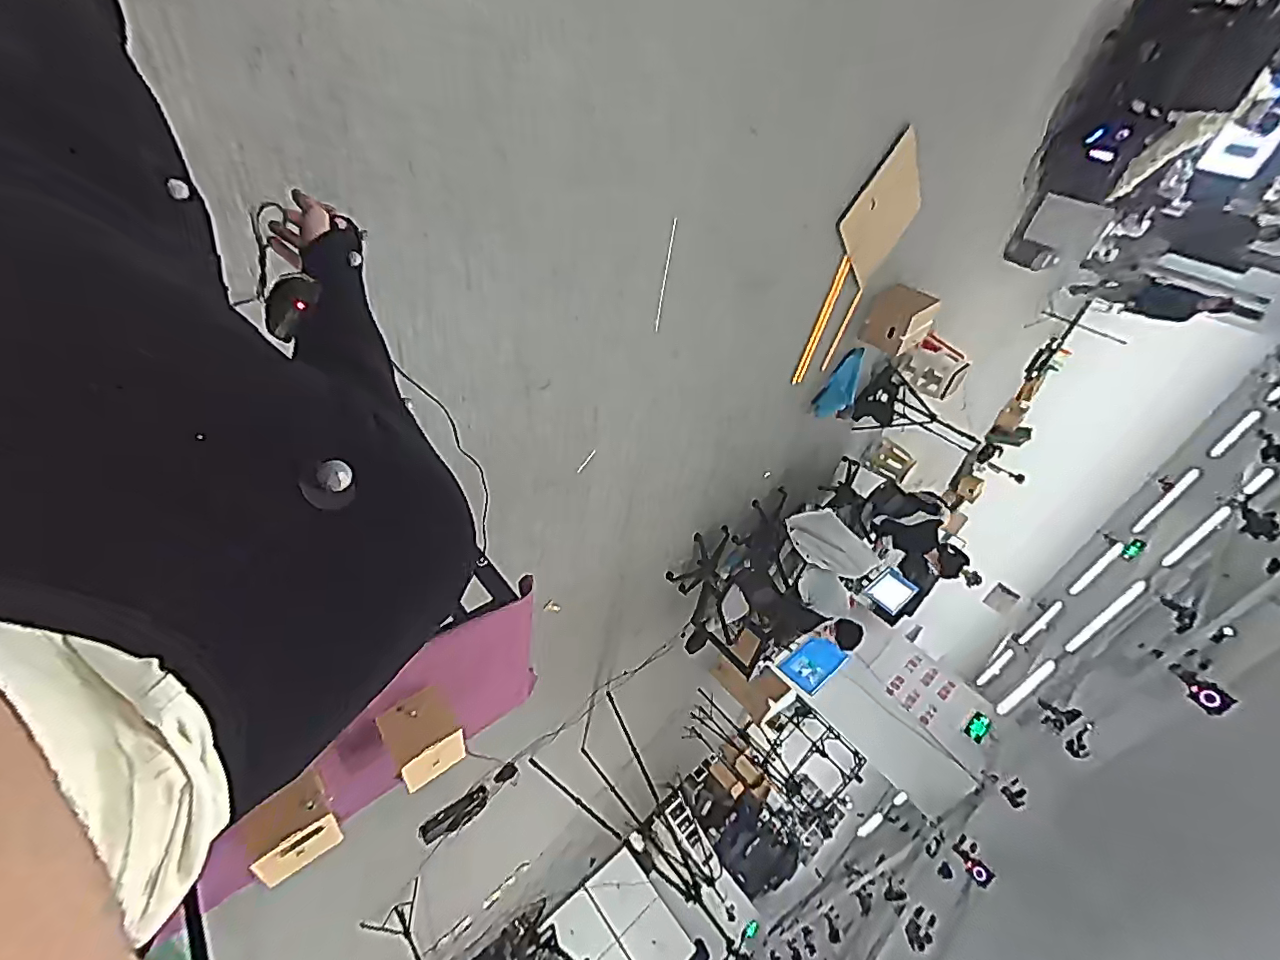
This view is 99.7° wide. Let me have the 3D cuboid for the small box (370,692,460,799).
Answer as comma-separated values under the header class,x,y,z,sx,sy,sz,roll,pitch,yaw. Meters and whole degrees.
class,x,y,z,sx,sy,sz,roll,pitch,yaw
small box,-0.613,0.719,1.479,0.168,0.176,0.179,-25,141,-35
